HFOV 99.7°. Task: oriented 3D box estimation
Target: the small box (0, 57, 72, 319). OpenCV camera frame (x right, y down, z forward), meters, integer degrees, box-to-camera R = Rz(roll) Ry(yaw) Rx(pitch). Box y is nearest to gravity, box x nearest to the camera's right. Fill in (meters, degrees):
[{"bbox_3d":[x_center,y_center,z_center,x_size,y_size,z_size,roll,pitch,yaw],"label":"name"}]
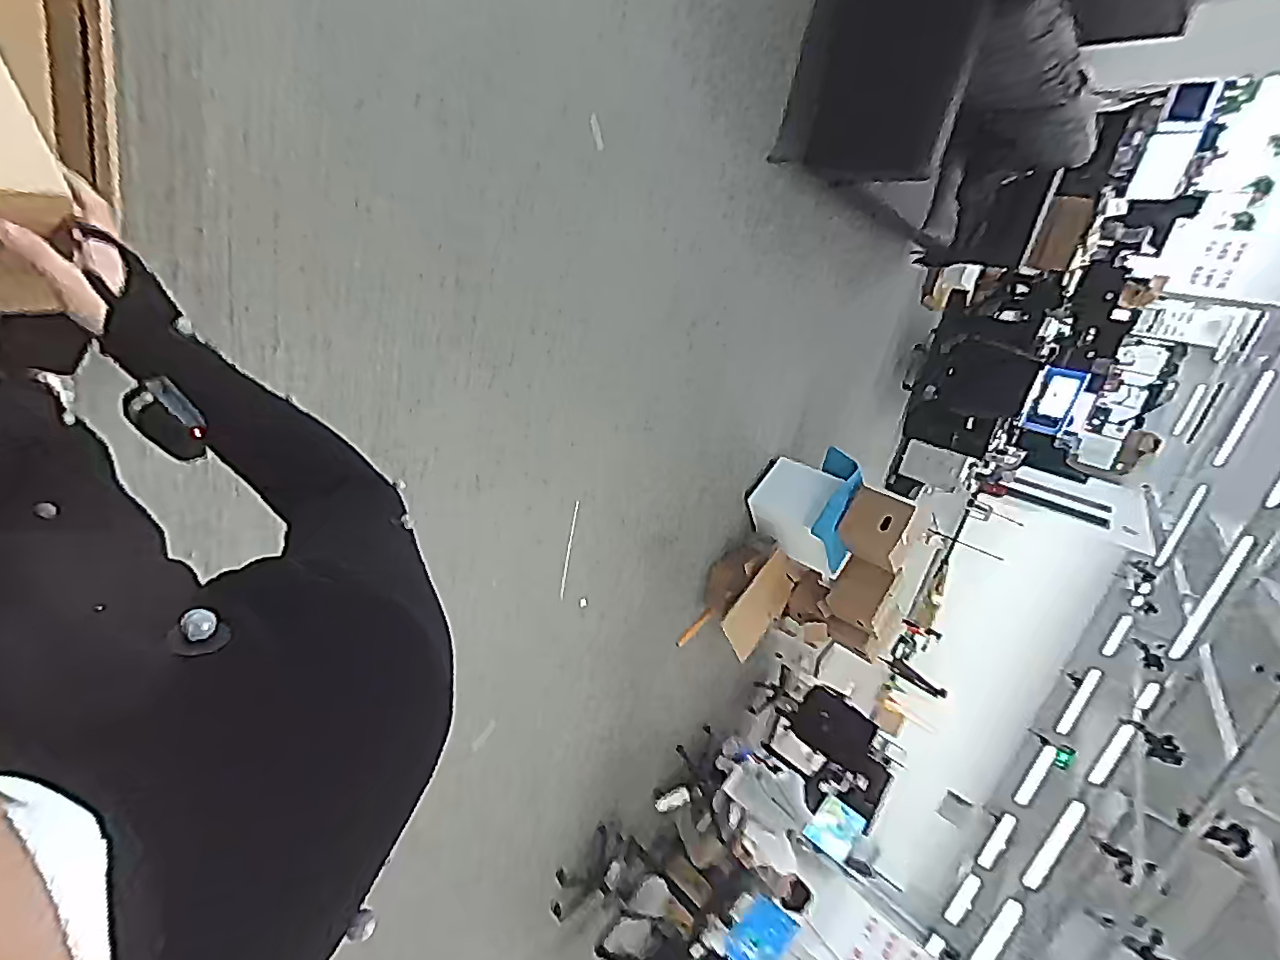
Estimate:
[{"bbox_3d":[-0.612,-0.247,0.442,0.168,0.176,0.179,-26,86,-52],"label":"small box"}]
